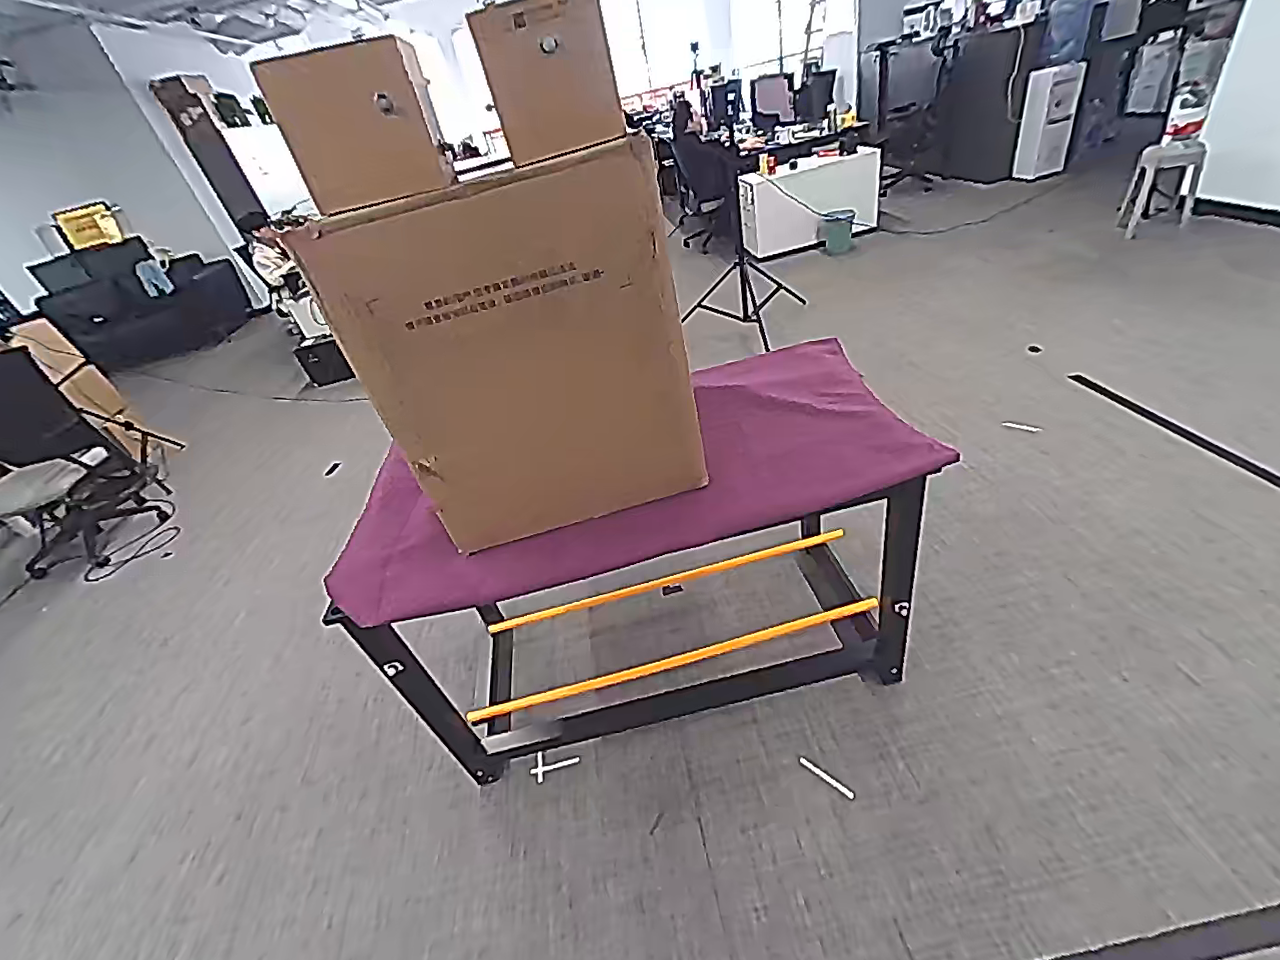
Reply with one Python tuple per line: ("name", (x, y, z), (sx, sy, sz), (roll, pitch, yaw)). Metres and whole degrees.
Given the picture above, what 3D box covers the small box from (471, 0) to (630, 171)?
("small box", (-0.125, -0.556, 0.758), (0.168, 0.176, 0.179), (-17, 36, -1))
